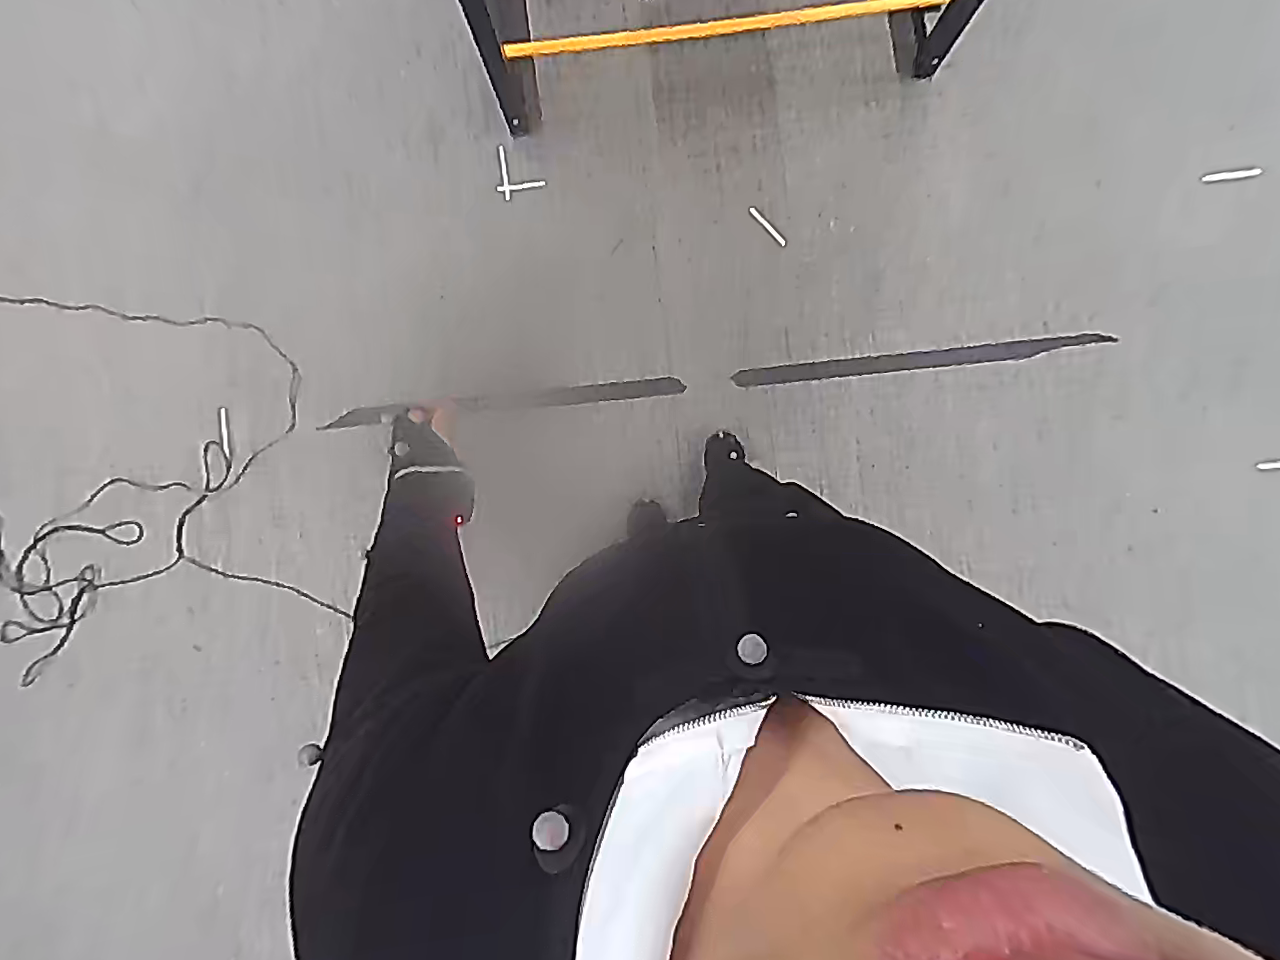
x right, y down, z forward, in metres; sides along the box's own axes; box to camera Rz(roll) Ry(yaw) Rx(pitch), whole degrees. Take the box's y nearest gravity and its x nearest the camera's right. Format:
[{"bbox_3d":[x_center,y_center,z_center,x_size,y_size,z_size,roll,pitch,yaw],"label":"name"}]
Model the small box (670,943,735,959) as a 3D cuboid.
[{"bbox_3d":[0.164,1.272,1.311,0.168,0.176,0.179,-7,89,1],"label":"small box"}]
